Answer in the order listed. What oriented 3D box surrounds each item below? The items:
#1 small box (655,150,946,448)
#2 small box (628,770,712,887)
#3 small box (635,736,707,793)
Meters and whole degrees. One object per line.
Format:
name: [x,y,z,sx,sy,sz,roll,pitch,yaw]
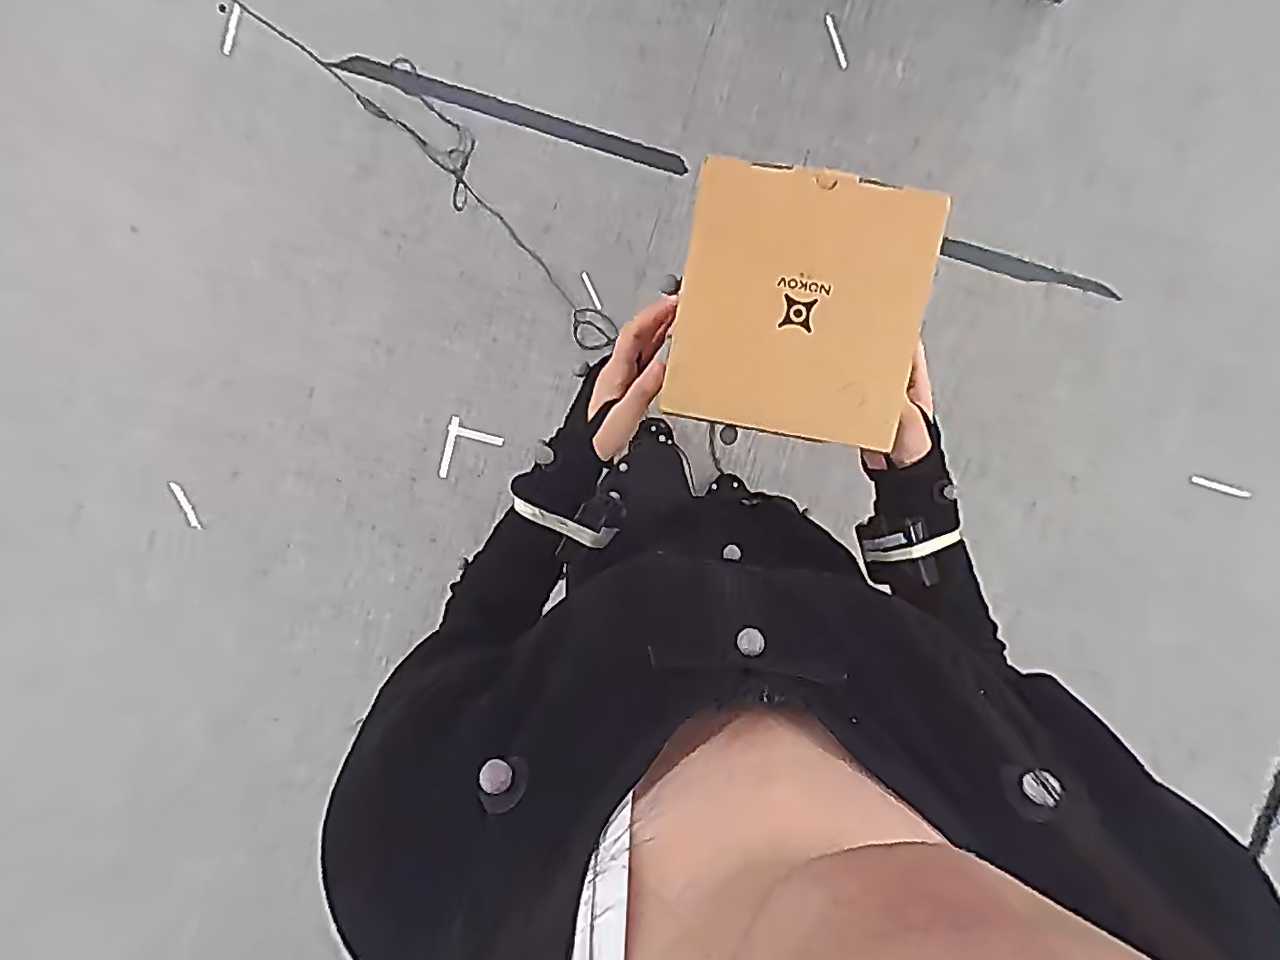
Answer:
small box: [0.110,-0.128,0.444,0.168,0.176,0.179,10,95,2]
small box: [0.071,0.823,1.294,0.179,0.176,0.168,6,92,3]
small box: [0.079,0.814,1.457,0.179,0.176,0.168,5,93,1]
